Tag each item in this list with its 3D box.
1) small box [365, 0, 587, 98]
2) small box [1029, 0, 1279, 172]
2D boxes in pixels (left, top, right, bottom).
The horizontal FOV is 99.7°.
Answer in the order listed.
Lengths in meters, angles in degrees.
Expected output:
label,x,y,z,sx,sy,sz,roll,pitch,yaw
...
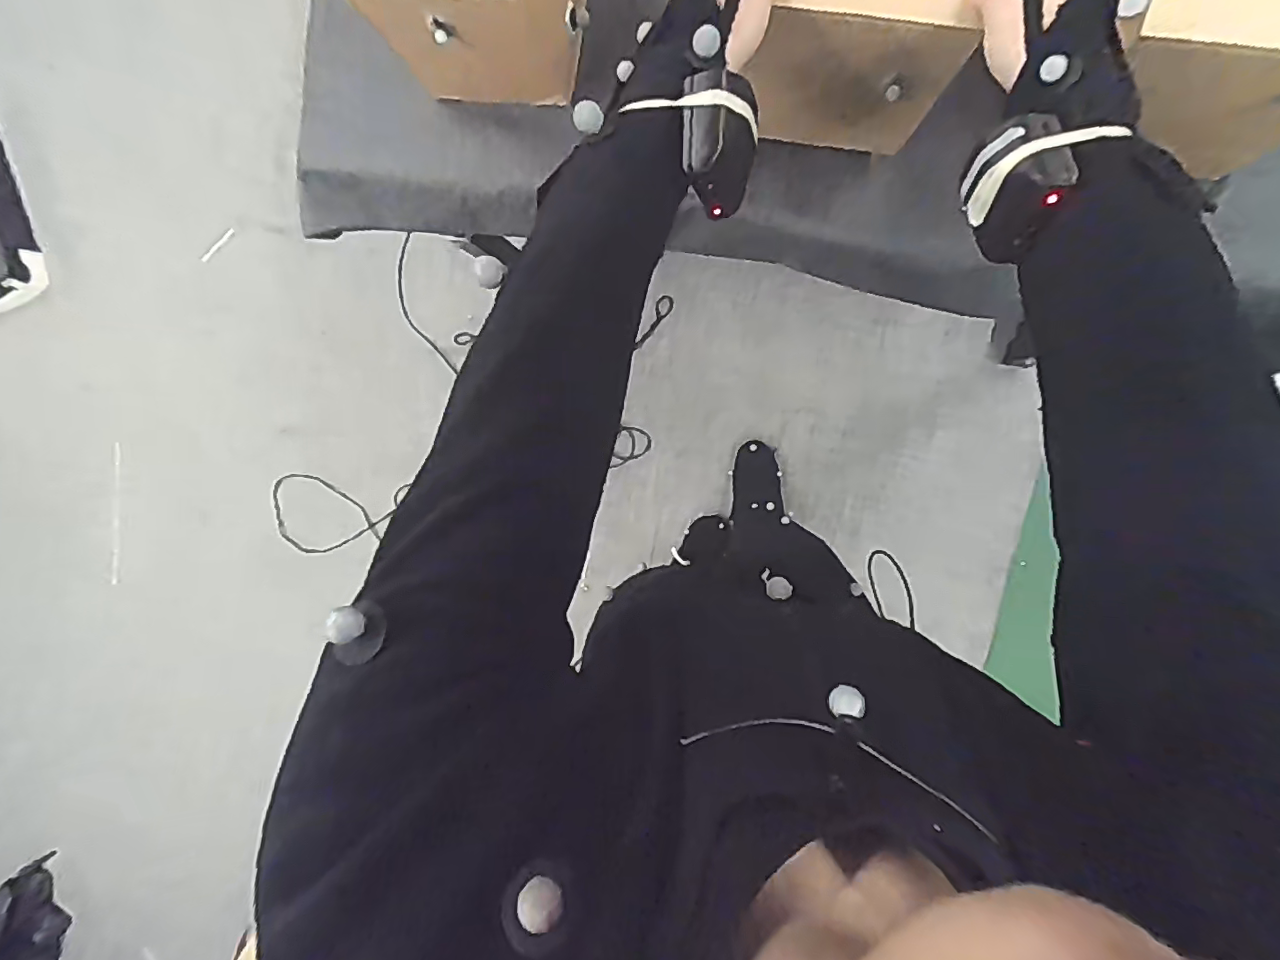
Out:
label,x,y,z,sx,sy,sz,roll,pitch,yaw
small box,-0.160,-0.511,0.530,0.179,0.176,0.168,10,99,8
small box,0.461,-0.375,0.433,0.179,0.176,0.168,14,98,8
